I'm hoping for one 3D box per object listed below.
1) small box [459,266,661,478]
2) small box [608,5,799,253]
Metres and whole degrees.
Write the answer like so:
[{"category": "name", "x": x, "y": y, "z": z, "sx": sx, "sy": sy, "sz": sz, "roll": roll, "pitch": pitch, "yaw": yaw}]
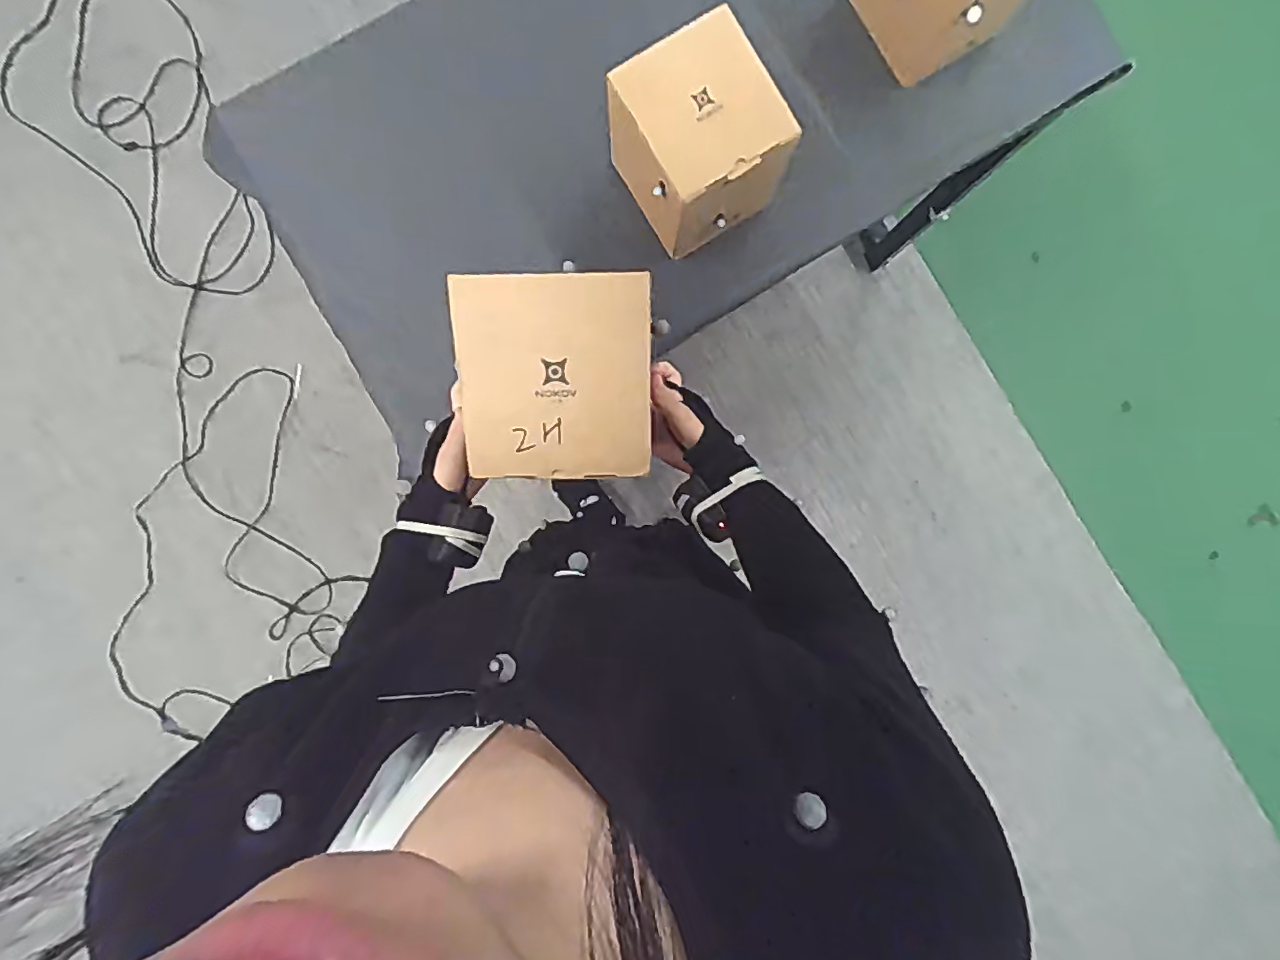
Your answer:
[{"category": "small box", "x": -0.068, "y": -0.109, "z": 0.534, "sx": 0.168, "sy": 0.176, "sz": 0.179, "roll": 1, "pitch": 107, "yaw": 0}, {"category": "small box", "x": 0.070, "y": -0.437, "z": 0.704, "sx": 0.168, "sy": 0.176, "sz": 0.179, "roll": -32, "pitch": 91, "yaw": -1}]
